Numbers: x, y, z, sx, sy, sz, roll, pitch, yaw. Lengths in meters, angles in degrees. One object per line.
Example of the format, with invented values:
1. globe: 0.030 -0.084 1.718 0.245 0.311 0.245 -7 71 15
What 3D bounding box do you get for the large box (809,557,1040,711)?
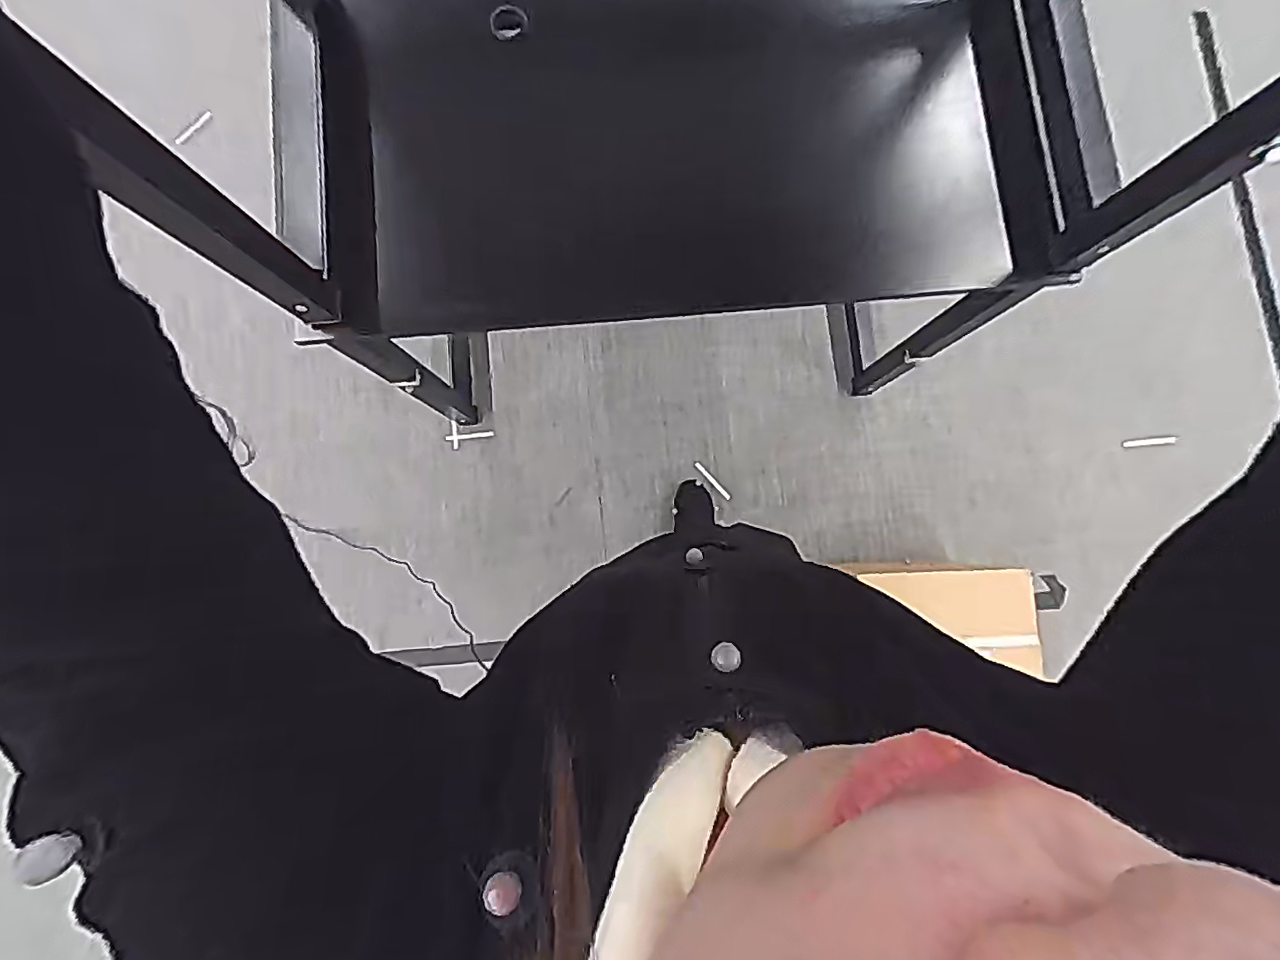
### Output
1. large box: 0.677 0.361 1.351 0.408 0.320 0.320 -2 86 -2
